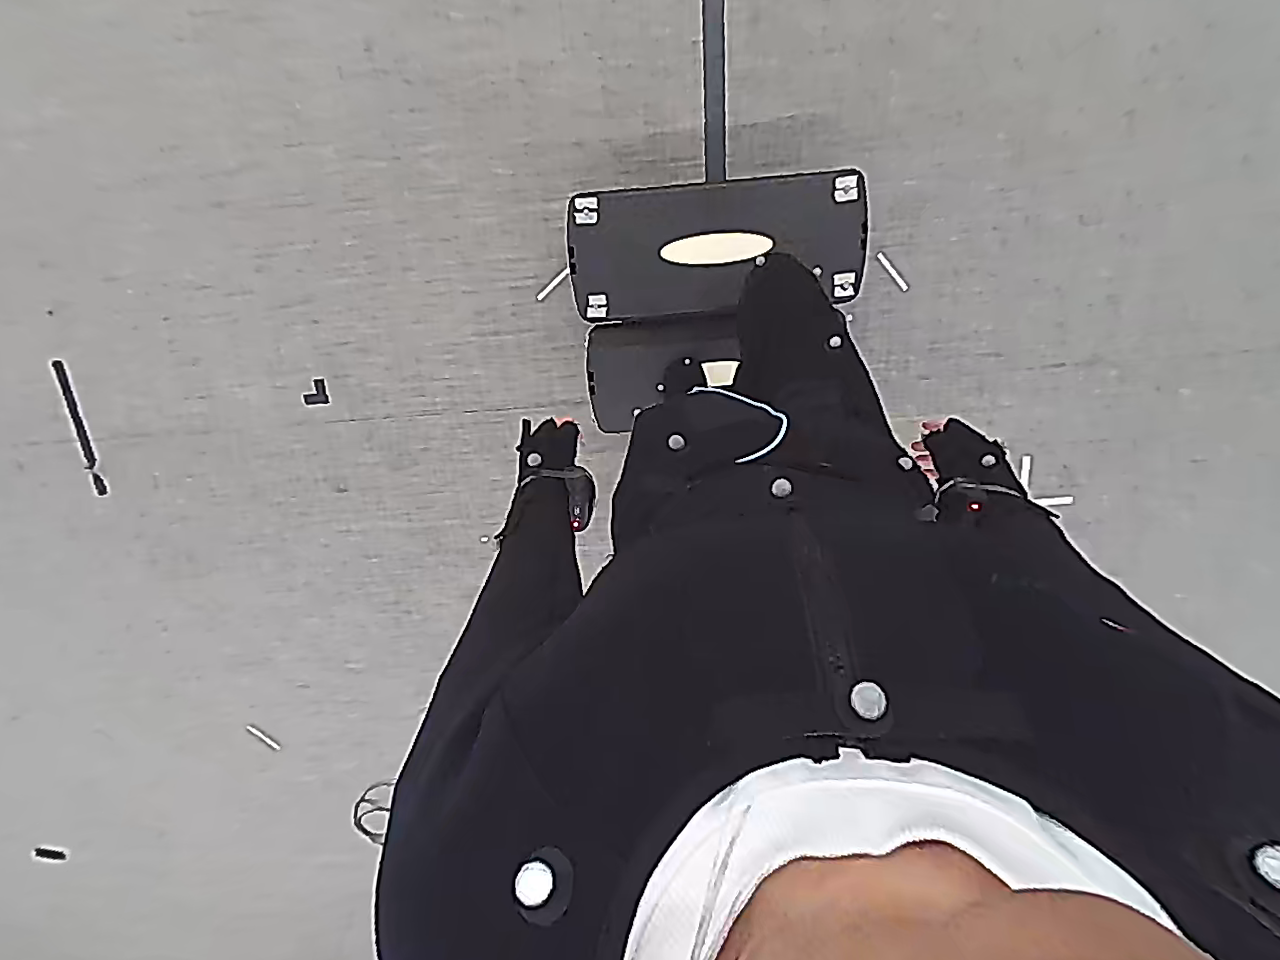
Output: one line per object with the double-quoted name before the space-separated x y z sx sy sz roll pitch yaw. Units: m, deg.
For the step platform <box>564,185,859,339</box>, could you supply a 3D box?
"step platform" 0.161 -0.513 1.300 0.684 0.204 0.286 -5 108 2
